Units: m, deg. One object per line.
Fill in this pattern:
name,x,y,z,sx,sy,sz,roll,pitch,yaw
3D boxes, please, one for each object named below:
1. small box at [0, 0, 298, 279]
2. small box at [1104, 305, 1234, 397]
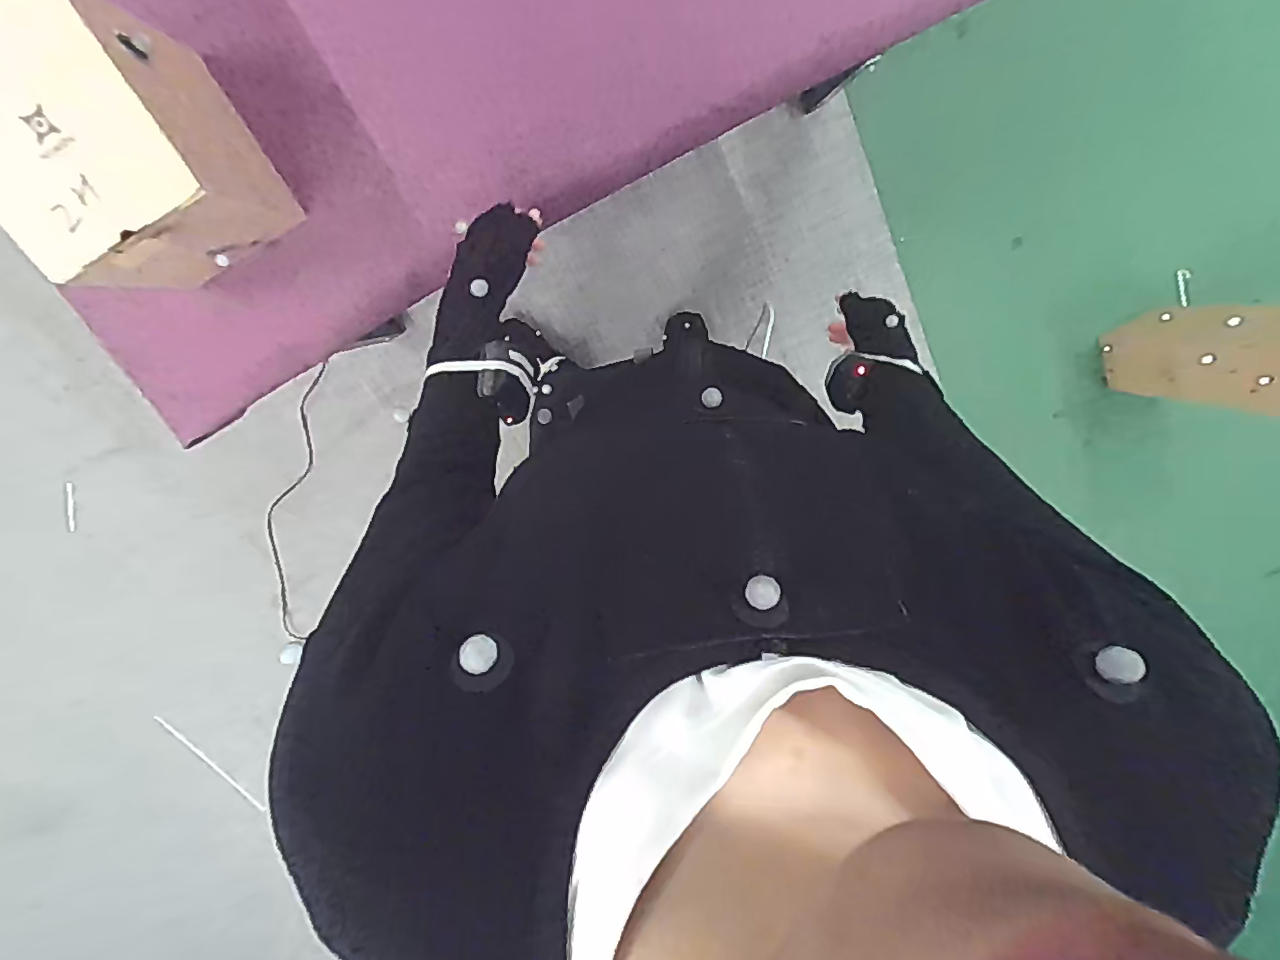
small box,-0.484,-0.310,0.516,0.168,0.176,0.179,-27,108,6
small box,1.346,-0.334,1.390,0.179,0.176,0.168,-27,109,5
